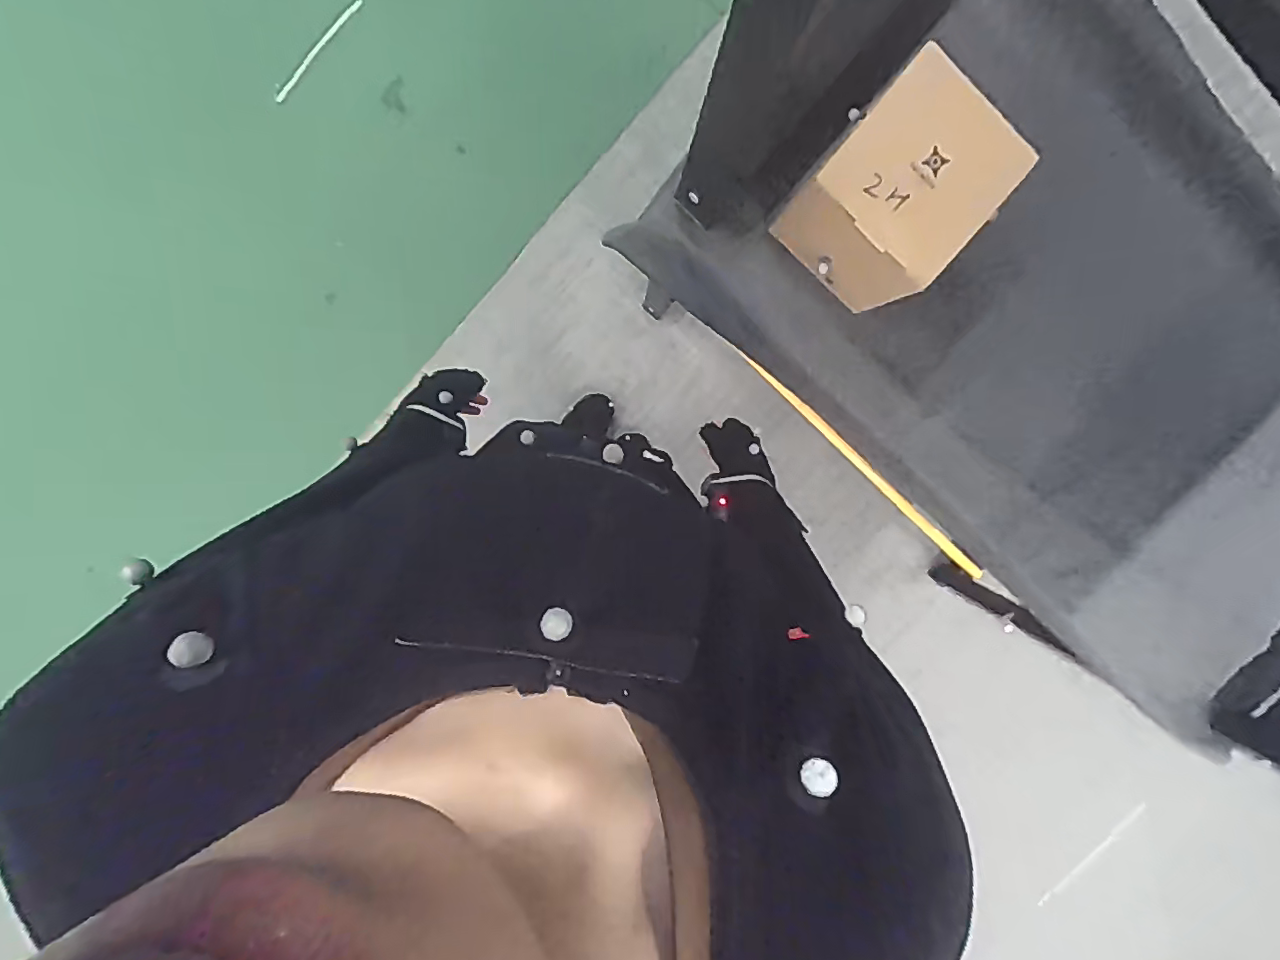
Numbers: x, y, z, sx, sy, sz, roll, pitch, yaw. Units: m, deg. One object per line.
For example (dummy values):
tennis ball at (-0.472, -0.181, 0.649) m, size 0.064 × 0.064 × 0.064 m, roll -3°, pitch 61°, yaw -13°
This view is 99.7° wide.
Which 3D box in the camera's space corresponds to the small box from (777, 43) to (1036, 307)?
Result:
small box at (0.290, -0.331, 0.631) m, size 0.168 × 0.176 × 0.179 m, roll 40°, pitch 95°, yaw -8°

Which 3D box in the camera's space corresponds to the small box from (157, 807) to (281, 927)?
small box at (-1.164, 1.075, 1.512) m, size 0.179 × 0.176 × 0.168 m, roll -41°, pitch 98°, yaw 3°
